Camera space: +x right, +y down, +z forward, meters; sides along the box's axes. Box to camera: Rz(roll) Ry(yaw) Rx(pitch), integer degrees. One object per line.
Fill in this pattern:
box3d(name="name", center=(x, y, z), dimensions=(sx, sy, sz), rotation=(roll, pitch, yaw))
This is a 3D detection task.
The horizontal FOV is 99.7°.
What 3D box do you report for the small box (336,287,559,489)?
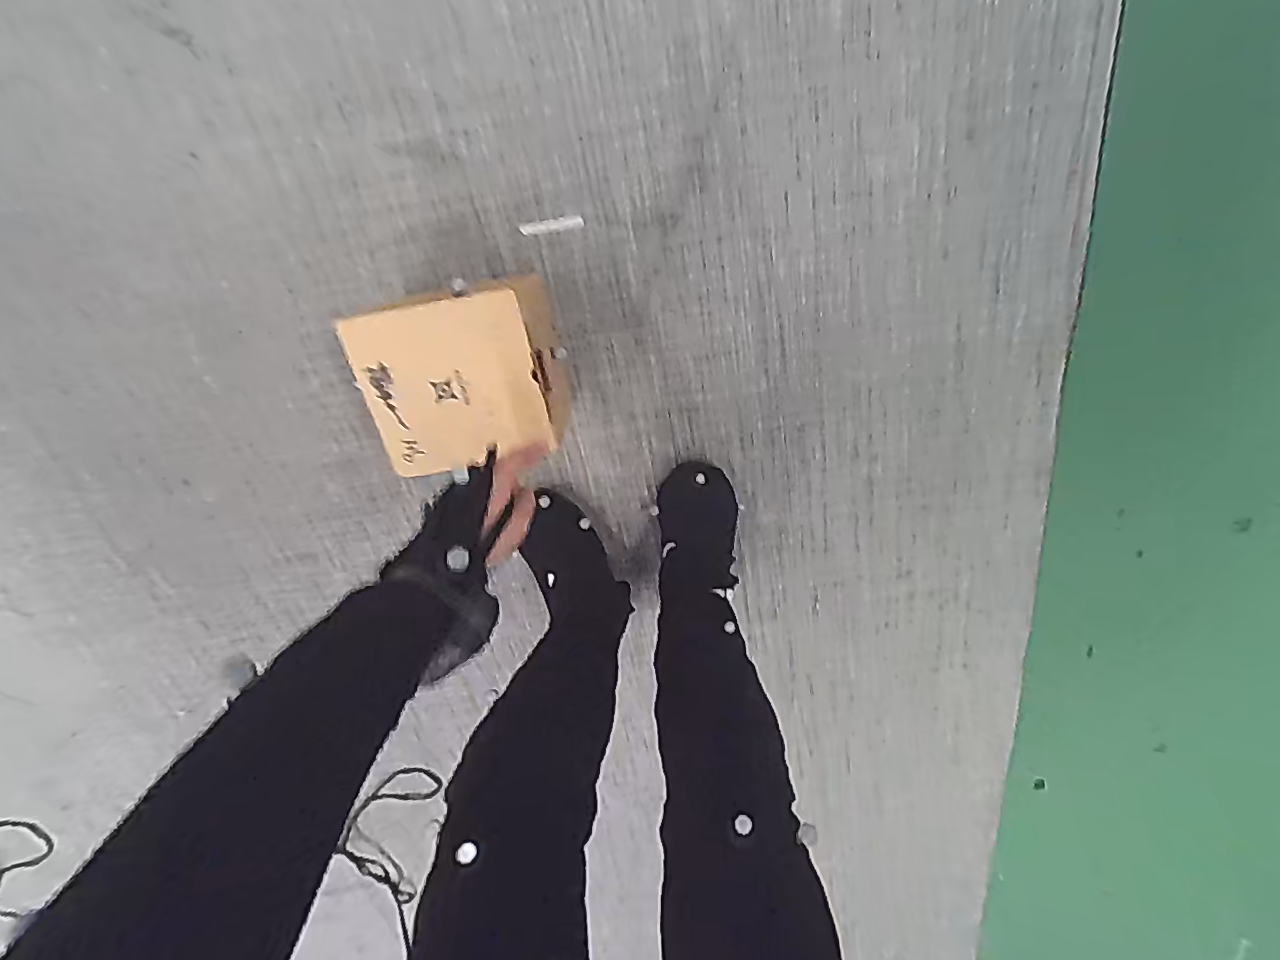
box3d(name="small box", center=(-0.192, -0.111, 0.607), dimensions=(0.179, 0.176, 0.168), rotation=(-10, 116, 2))
